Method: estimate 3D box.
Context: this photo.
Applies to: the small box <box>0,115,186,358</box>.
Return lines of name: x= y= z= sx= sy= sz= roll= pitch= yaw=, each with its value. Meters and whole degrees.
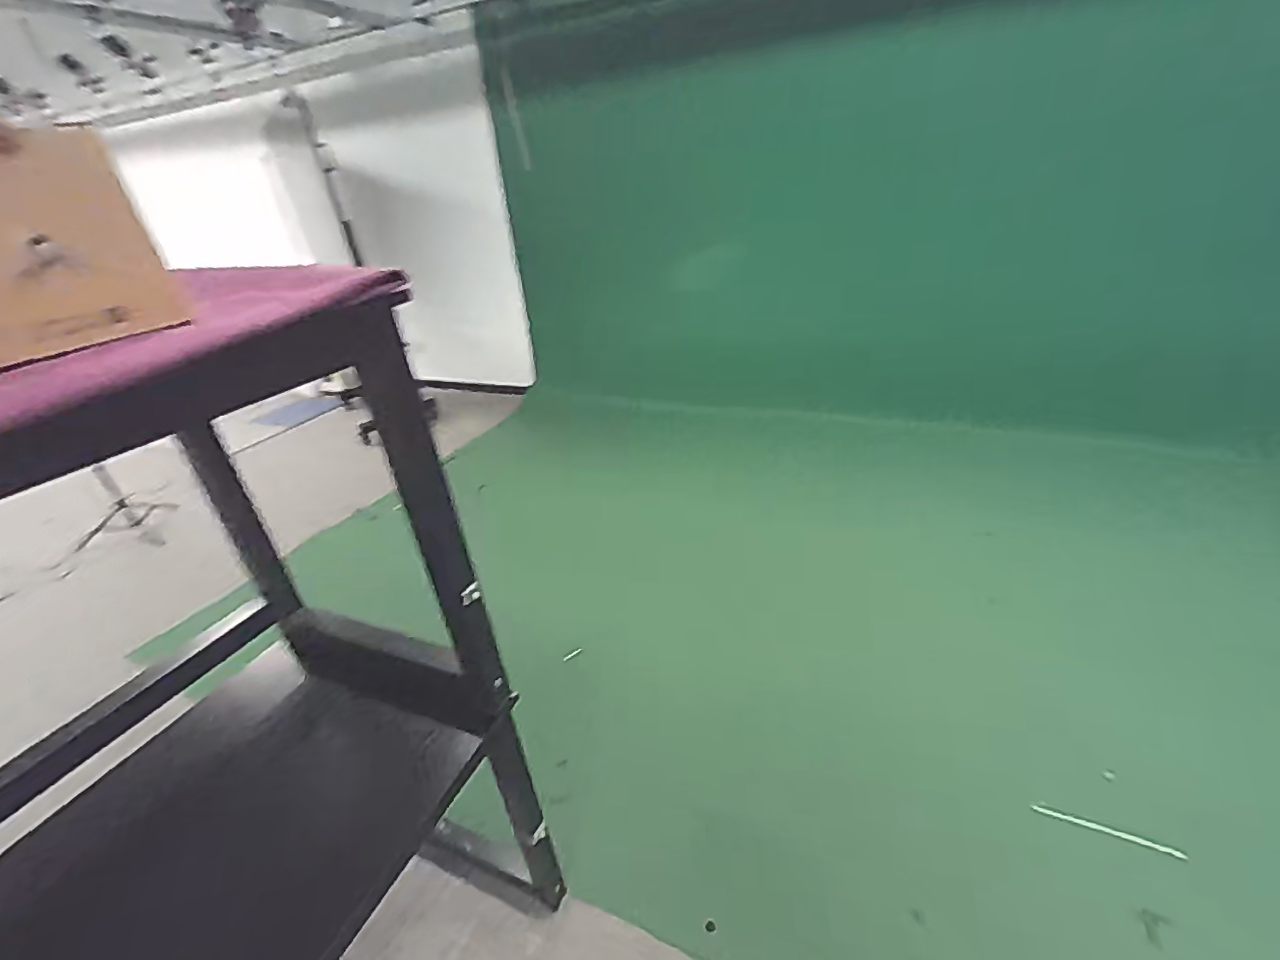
small box: x=-0.561 y=-0.208 z=0.479 sx=0.179 sy=0.176 sz=0.168 roll=11 pitch=35 yaw=30
